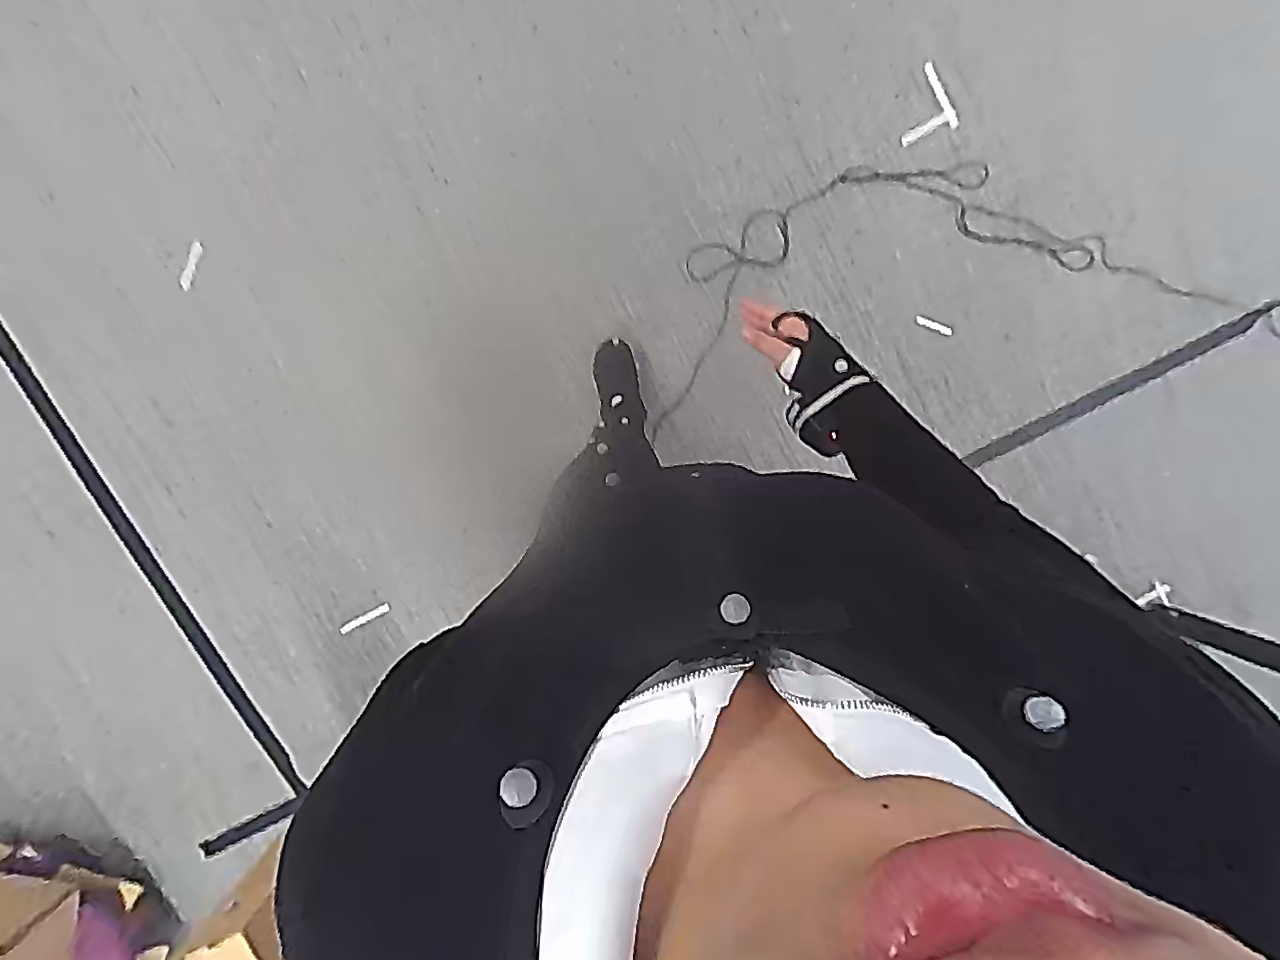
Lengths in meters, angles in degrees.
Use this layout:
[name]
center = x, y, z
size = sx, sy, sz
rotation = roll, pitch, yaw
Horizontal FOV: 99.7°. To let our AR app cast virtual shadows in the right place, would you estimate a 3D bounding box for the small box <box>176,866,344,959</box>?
[small box]
center = -0.674, 0.835, 0.959
size = 0.168, 0.176, 0.179
rotation = -29, 95, 0
